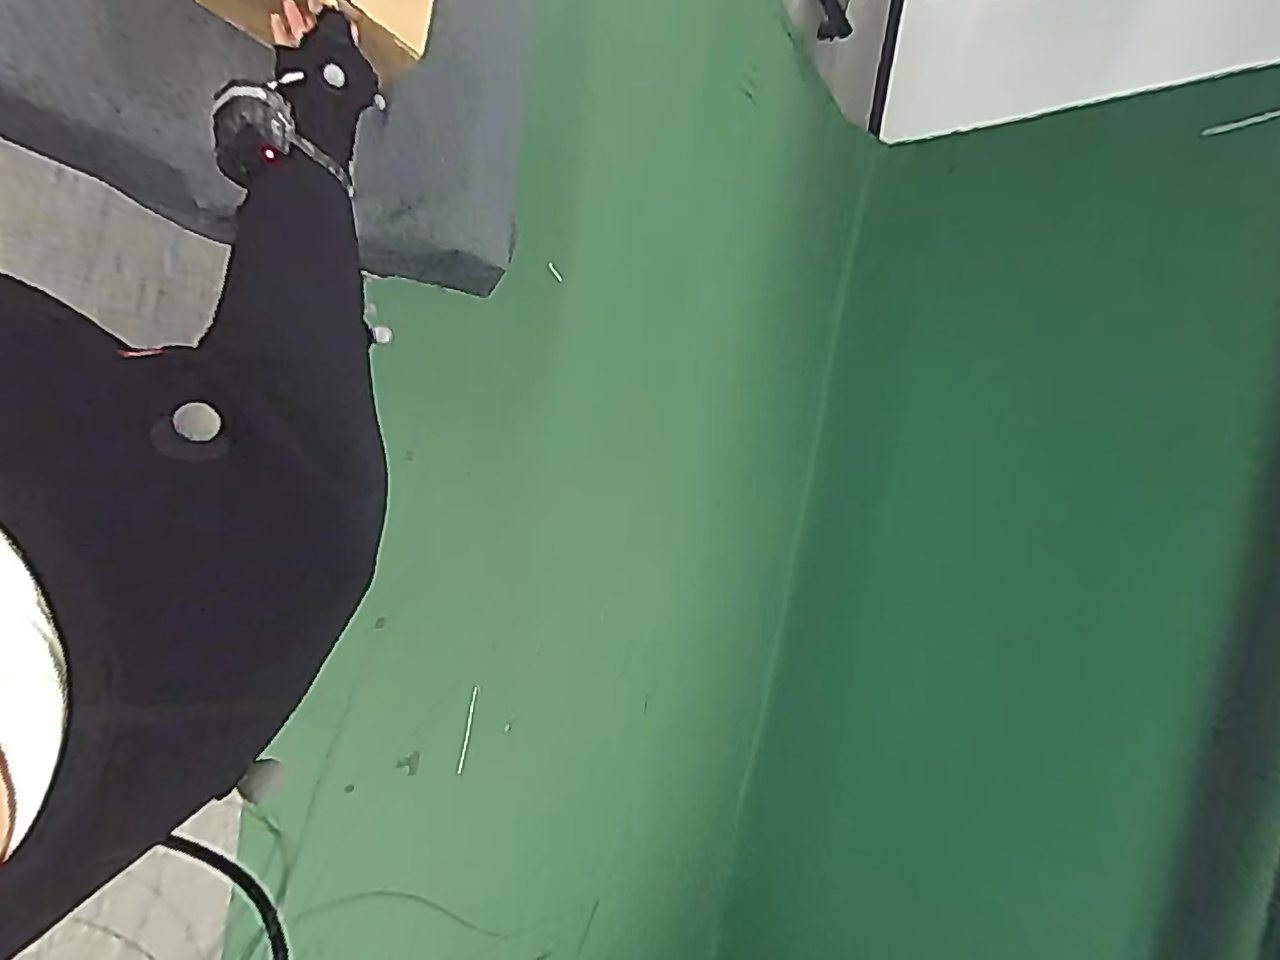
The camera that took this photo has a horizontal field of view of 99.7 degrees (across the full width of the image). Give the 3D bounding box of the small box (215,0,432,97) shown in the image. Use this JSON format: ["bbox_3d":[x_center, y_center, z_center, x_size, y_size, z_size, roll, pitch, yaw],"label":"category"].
[{"bbox_3d":[-0.331,-0.551,0.567,0.168,0.176,0.179,11,91,-51],"label":"small box"}]
